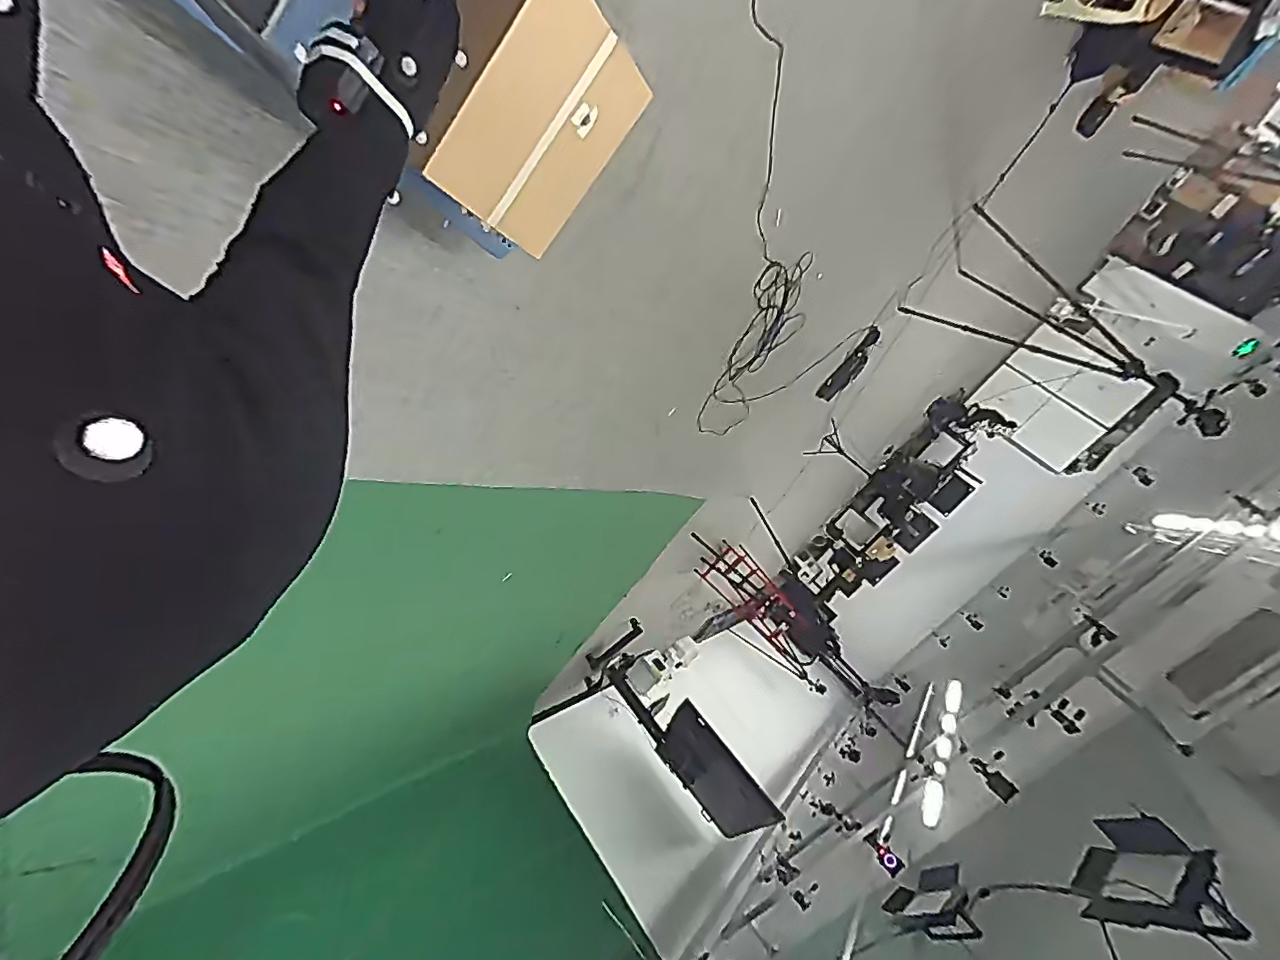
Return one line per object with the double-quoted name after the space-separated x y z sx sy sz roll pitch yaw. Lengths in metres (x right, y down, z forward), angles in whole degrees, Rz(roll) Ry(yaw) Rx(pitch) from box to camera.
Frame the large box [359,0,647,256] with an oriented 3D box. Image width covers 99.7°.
-0.271 -0.746 1.066 0.408 0.320 0.320 -51 154 14 "large box"
